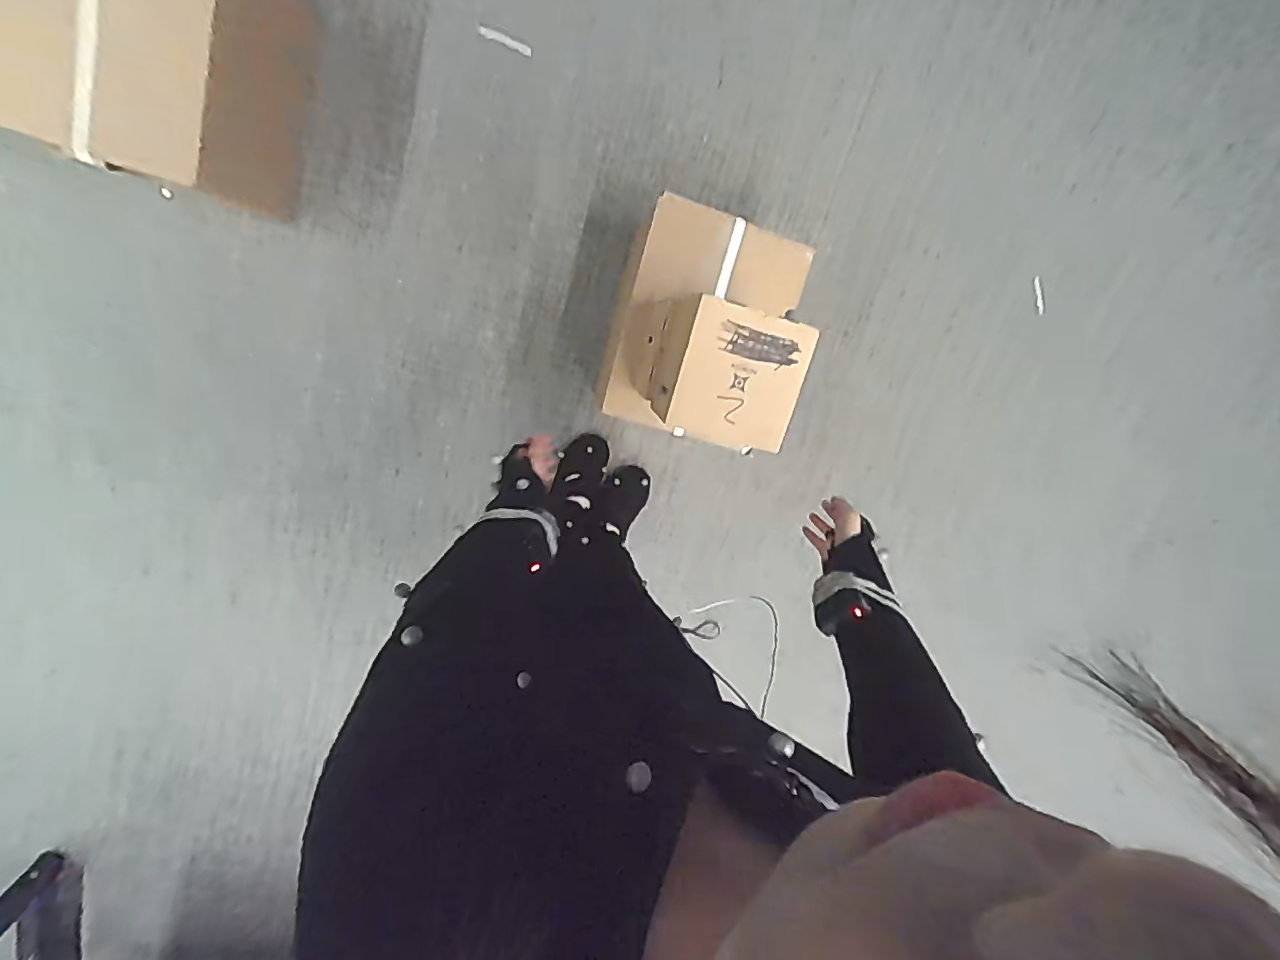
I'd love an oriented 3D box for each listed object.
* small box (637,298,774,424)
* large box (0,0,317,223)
[{"bbox_3d":[0.104,-0.209,0.942,0.179,0.176,0.168,13,103,-9],"label":"small box"},{"bbox_3d":[-0.808,-0.722,0.930,0.320,0.320,0.408,15,102,-11],"label":"large box"}]
